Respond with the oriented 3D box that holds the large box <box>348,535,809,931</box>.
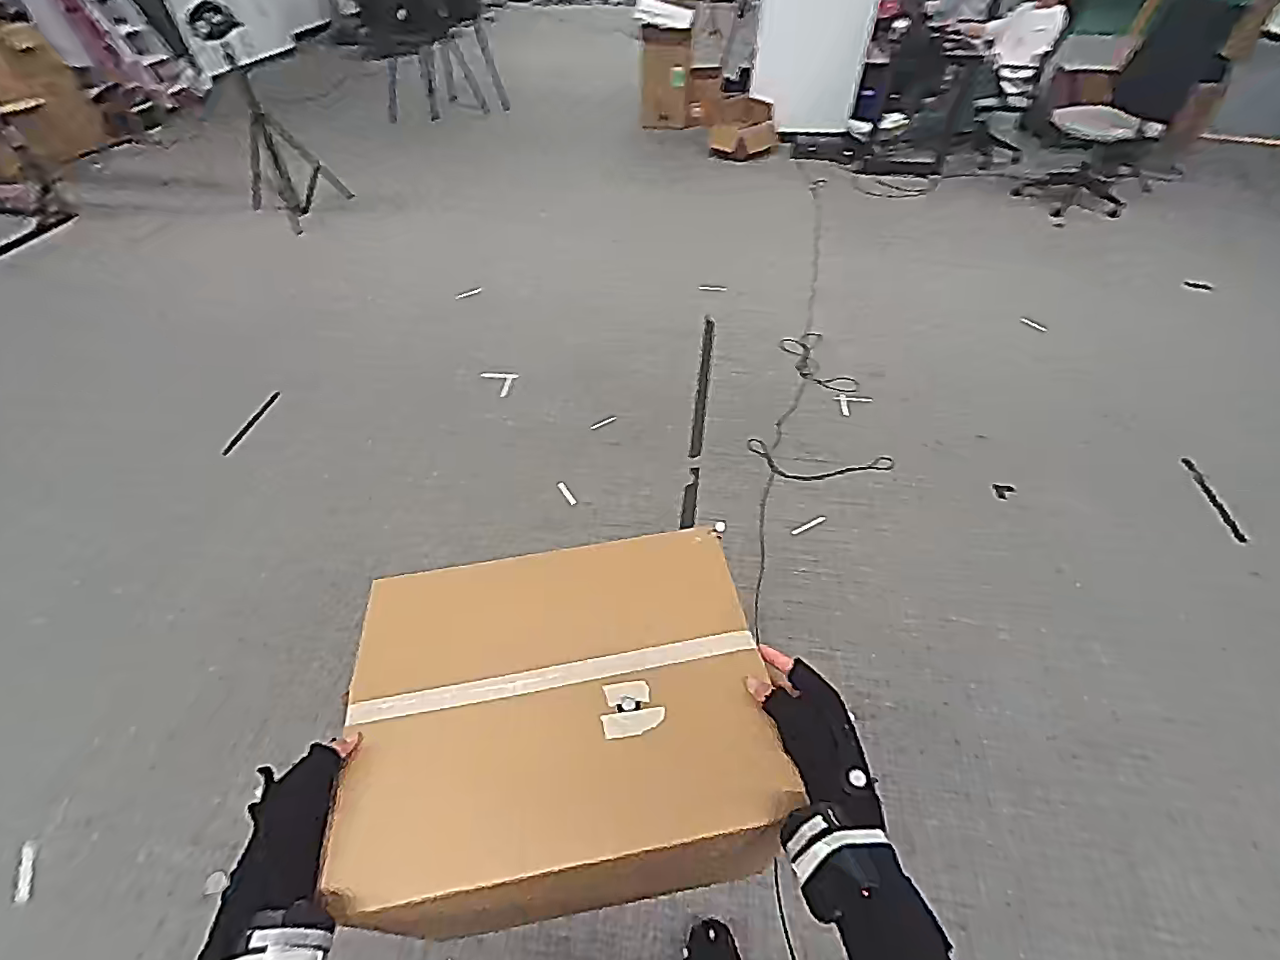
[{"bbox_3d":[-0.065,0.307,0.664,0.408,0.320,0.320,-7,48,-5],"label":"large box"}]
